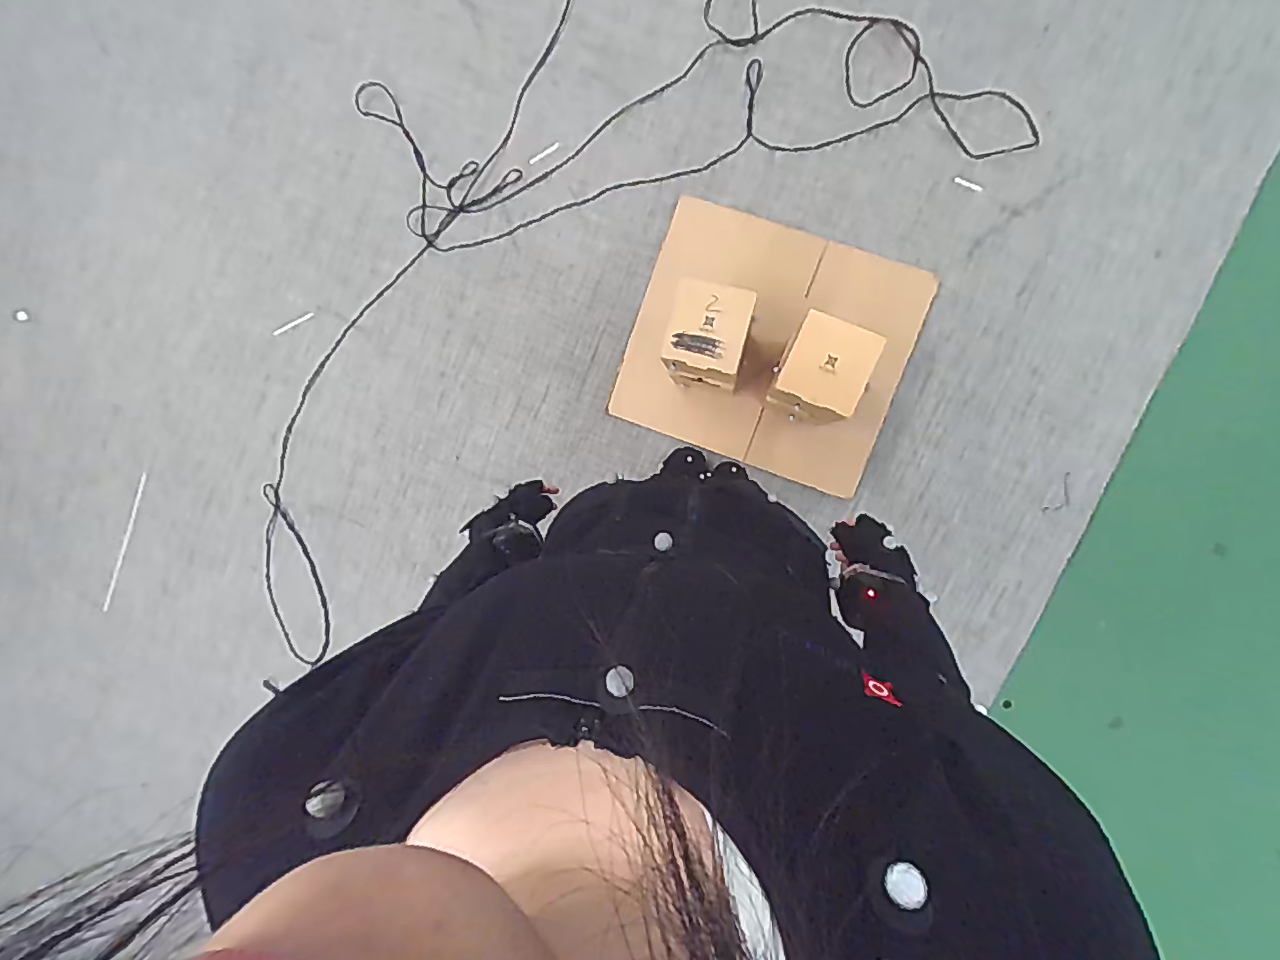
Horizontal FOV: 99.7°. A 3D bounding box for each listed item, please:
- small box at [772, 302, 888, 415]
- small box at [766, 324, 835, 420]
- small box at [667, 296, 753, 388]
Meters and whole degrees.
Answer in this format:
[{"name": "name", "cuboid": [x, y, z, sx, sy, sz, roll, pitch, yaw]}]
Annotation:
[{"name": "small box", "cuboid": [0.394, -0.251, 1.160, 0.168, 0.176, 0.179, 24, 98, 6]}, {"name": "small box", "cuboid": [0.414, -0.257, 1.321, 0.168, 0.176, 0.179, 21, 97, 8]}, {"name": "small box", "cuboid": [0.176, -0.334, 1.346, 0.168, 0.176, 0.179, 16, 96, 7]}]
